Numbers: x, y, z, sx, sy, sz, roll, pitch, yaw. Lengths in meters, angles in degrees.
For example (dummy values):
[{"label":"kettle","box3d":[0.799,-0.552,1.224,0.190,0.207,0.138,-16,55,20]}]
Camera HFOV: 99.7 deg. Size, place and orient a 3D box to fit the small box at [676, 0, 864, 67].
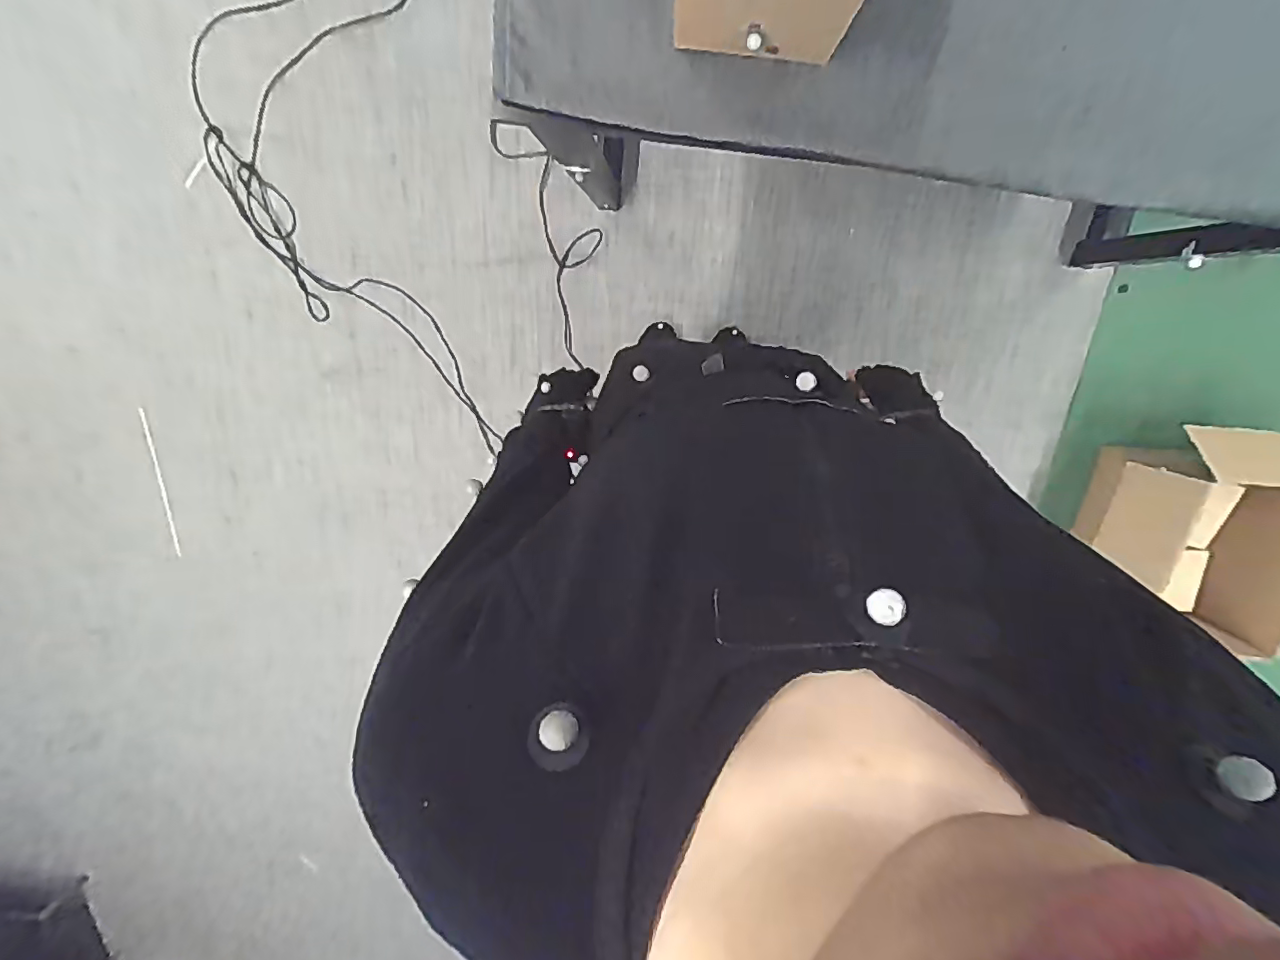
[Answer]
[{"label":"small box","box3d":[0.123,-0.511,0.477,0.168,0.176,0.179,7,107,1]}]
